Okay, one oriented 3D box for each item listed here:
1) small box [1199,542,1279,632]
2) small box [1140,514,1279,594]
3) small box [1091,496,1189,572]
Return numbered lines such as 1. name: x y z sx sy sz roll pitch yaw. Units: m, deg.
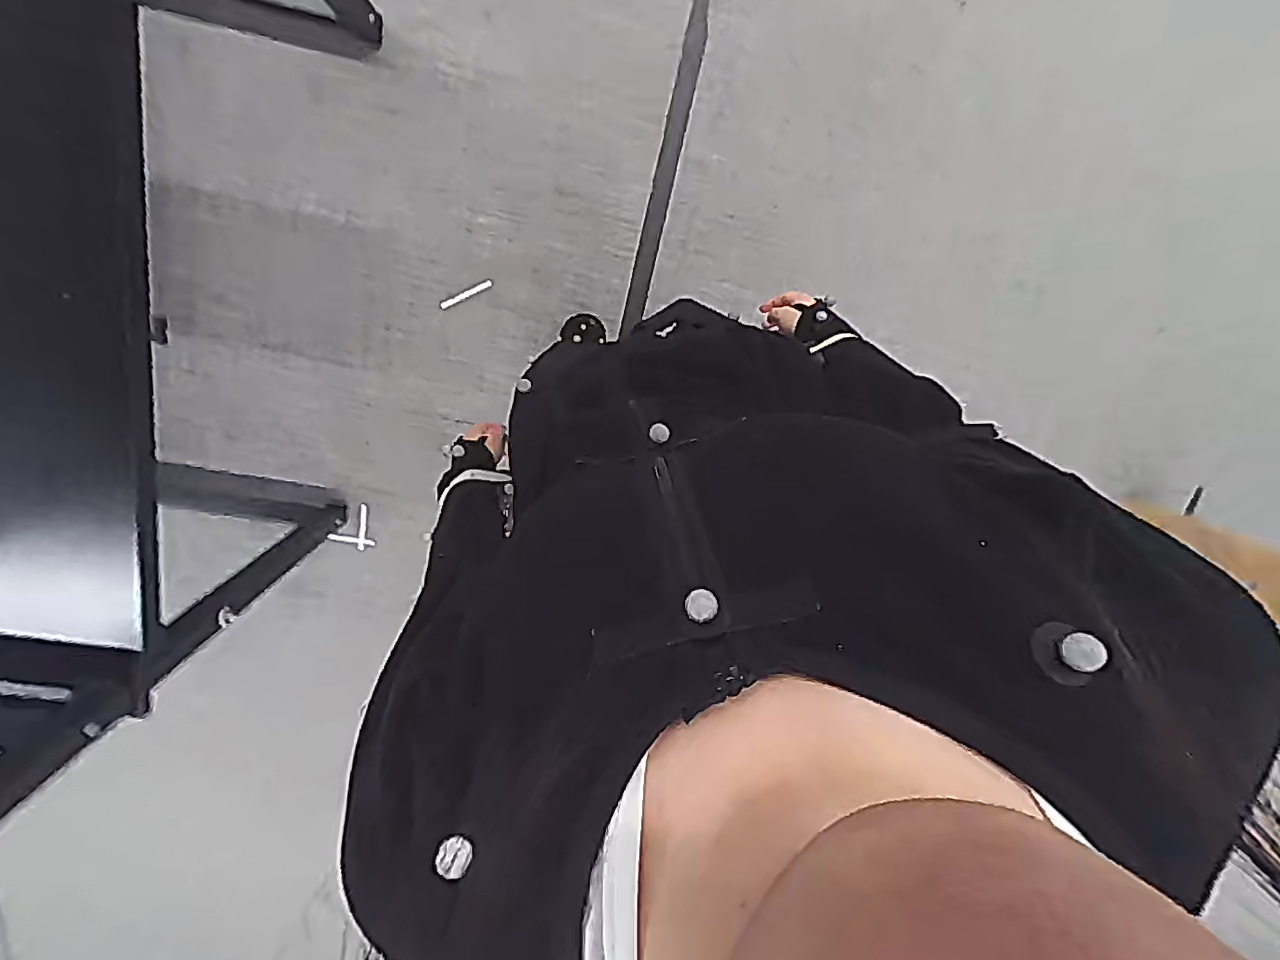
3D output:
1. small box: 1.546 0.265 1.315 0.179 0.176 0.168 12 106 -8
2. small box: 1.532 0.208 1.468 0.168 0.176 0.179 13 105 -8
3. small box: 1.520 0.167 1.626 0.168 0.176 0.179 10 106 -8
